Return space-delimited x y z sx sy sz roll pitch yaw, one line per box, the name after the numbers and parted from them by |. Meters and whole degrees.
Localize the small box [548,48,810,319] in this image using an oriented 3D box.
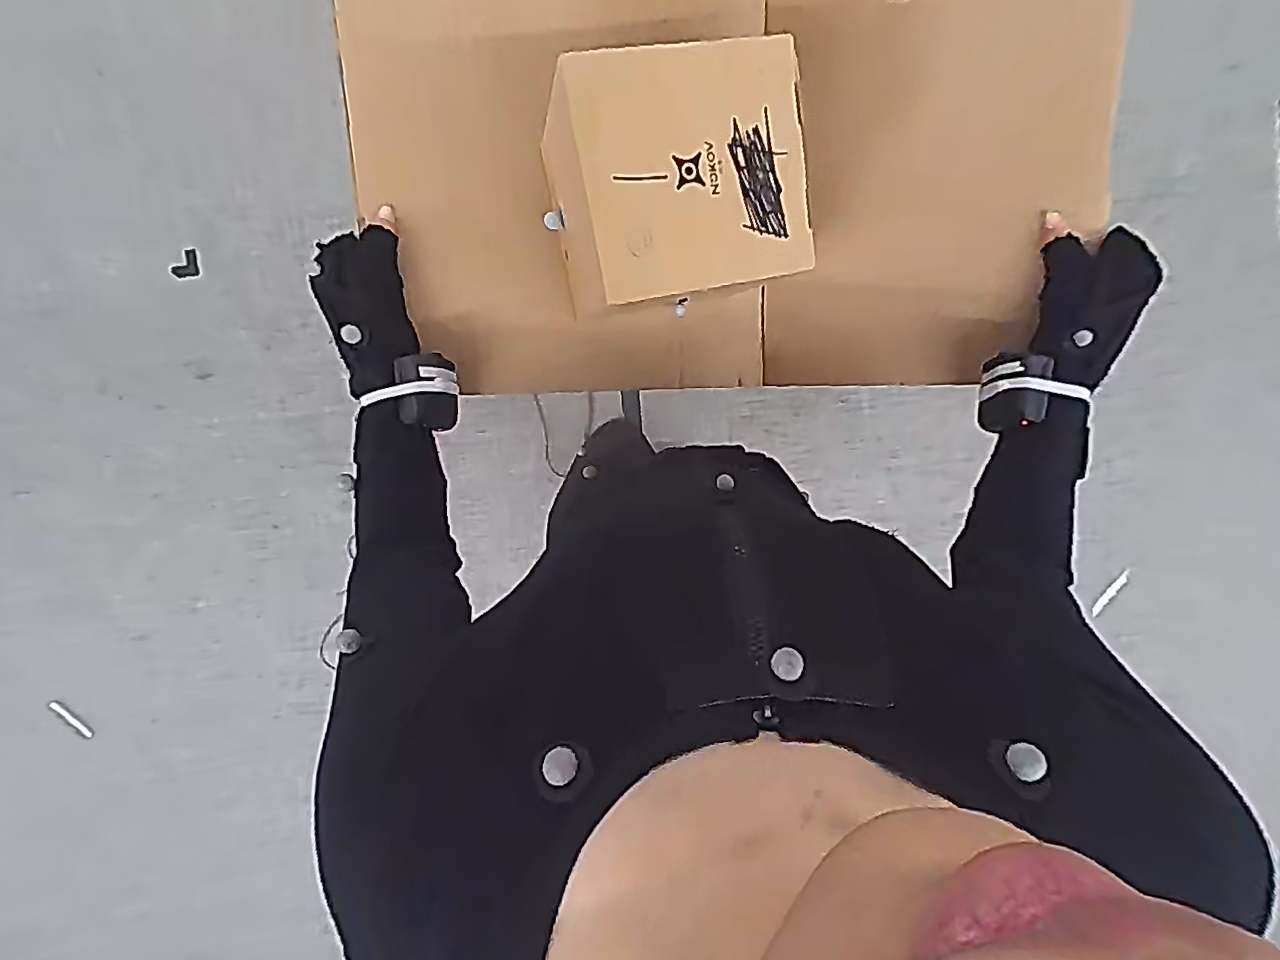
0.025 -0.245 0.484 0.179 0.176 0.168 -13 104 -11 | small box
